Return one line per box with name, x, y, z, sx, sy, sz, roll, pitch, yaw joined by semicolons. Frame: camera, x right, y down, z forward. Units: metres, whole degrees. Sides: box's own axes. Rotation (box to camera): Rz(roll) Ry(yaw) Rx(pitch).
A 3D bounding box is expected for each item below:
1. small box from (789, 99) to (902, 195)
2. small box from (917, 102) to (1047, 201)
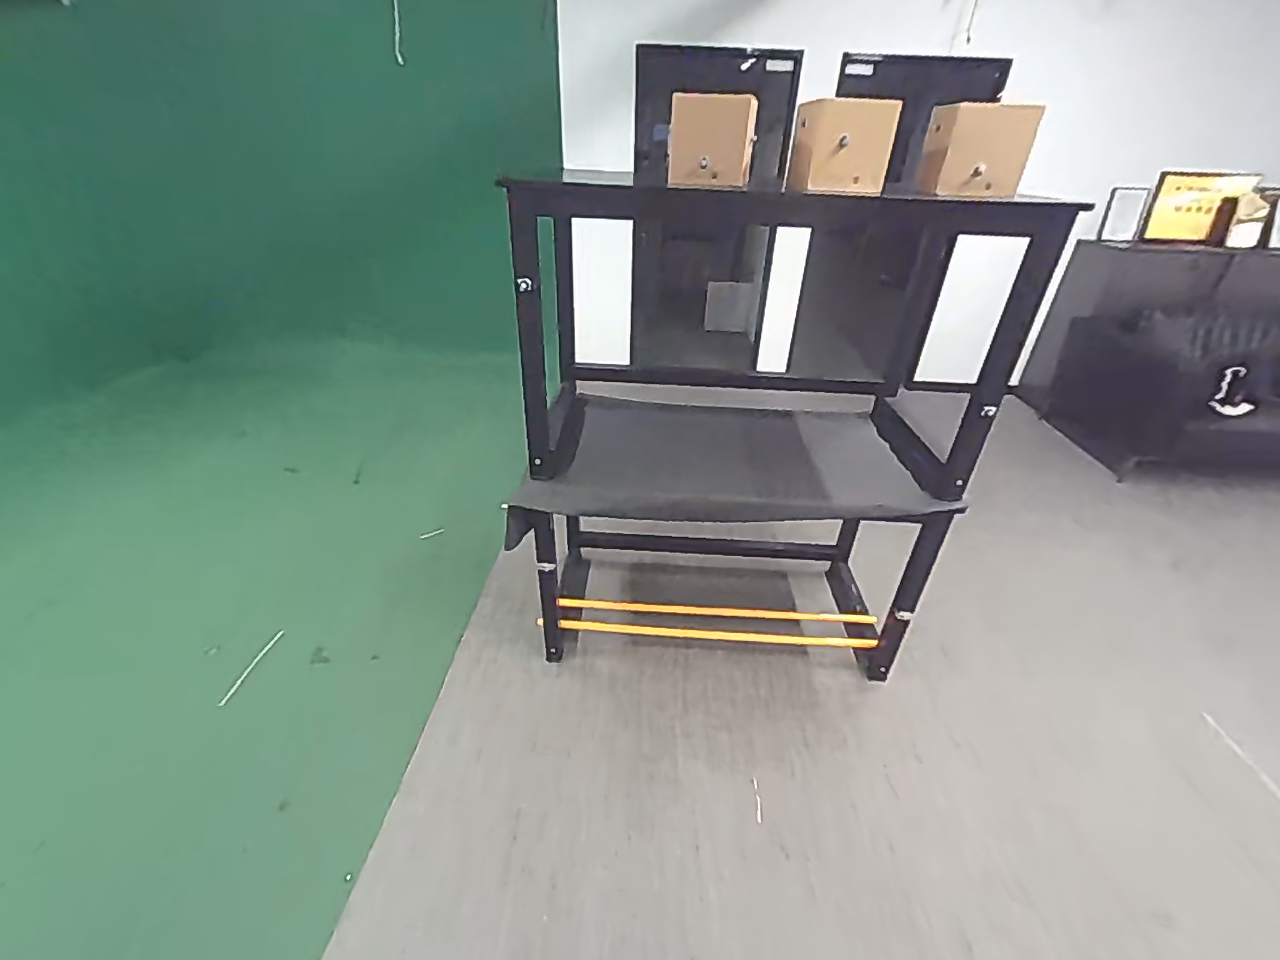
small box;0.441;-0.728;1.190;0.168;0.176;0.179;0;31;-3
small box;0.734;-0.719;1.188;0.168;0.176;0.179;5;32;6
